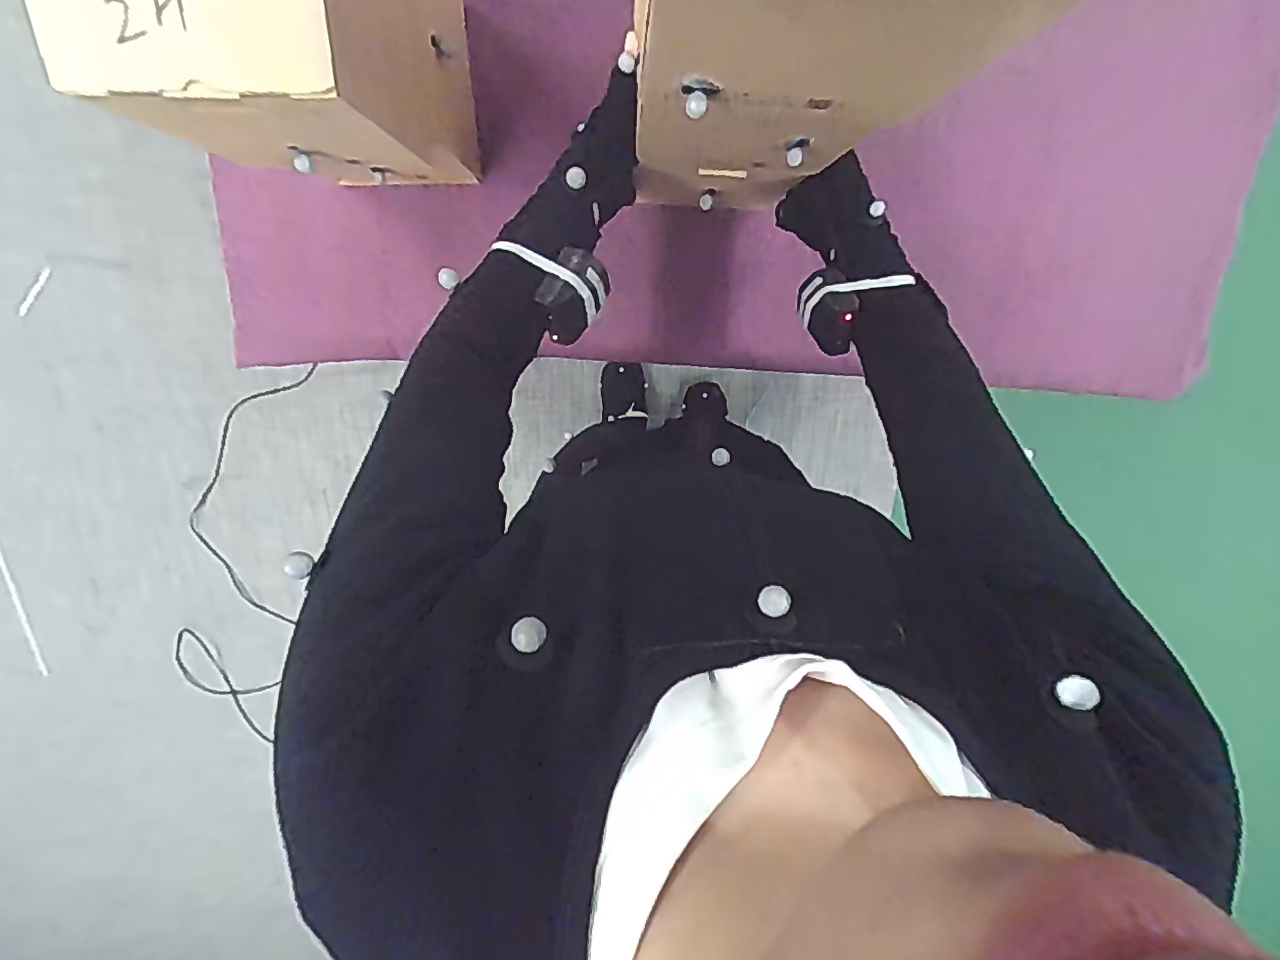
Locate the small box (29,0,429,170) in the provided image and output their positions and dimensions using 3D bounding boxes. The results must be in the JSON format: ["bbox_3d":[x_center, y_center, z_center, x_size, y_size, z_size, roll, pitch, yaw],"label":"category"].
[{"bbox_3d":[-0.259,-0.331,0.367,0.168,0.176,0.179,-1,108,-2],"label":"small box"}]

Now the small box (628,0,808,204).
[{"bbox_3d":[0.072,-0.383,0.537,0.168,0.176,0.179,-1,106,-1],"label":"small box"}]

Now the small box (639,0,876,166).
[{"bbox_3d":[0.086,-0.329,0.363,0.168,0.176,0.179,1,107,-3],"label":"small box"}]

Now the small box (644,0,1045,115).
[{"bbox_3d":[0.090,-0.280,0.225,0.168,0.176,0.179,2,107,-4],"label":"small box"}]

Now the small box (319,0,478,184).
[{"bbox_3d":[-0.264,-0.401,0.518,0.168,0.176,0.179,-3,108,-1],"label":"small box"}]
